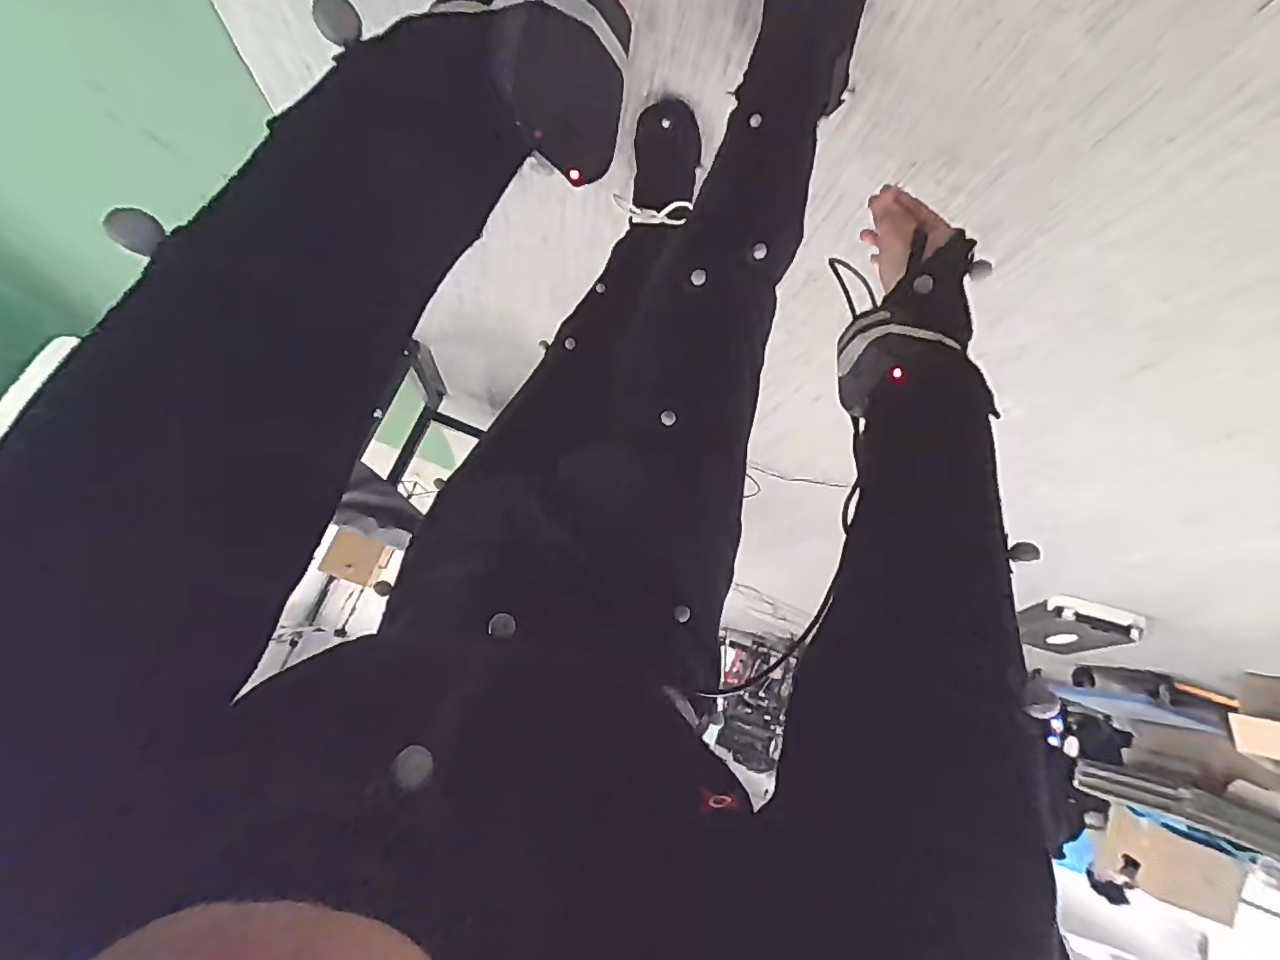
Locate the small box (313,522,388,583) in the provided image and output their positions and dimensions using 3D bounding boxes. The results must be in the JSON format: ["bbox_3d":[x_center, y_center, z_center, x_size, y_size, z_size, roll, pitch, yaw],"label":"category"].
[{"bbox_3d":[-1.038,0.266,1.961,0.179,0.176,0.168,25,163,-11],"label":"small box"}]
